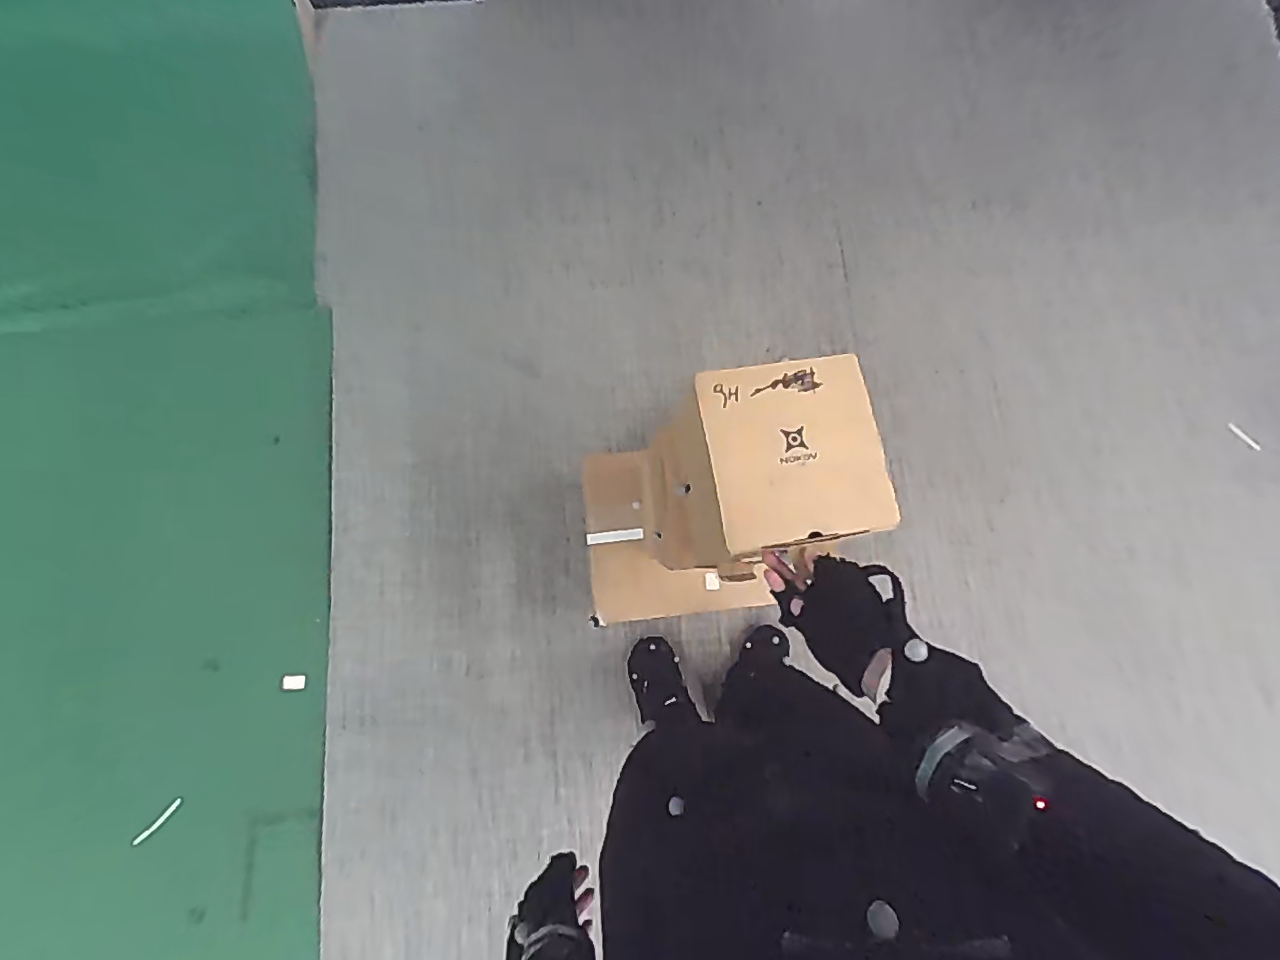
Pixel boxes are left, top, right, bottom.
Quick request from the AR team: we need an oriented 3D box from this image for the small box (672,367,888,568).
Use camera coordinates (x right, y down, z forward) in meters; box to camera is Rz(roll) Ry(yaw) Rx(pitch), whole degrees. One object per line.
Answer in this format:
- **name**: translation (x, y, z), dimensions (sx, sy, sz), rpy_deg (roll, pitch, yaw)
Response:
- **small box**: translation (0.135, -0.001, 0.589), dimensions (0.168, 0.176, 0.179), rpy_deg (-9, 79, -5)

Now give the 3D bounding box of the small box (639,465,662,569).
- **small box**: translation (0.096, 0.054, 0.918), dimensions (0.179, 0.176, 0.168), rpy_deg (-6, 85, -3)

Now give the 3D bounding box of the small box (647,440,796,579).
- **small box**: translation (0.103, 0.037, 0.757), dimensions (0.168, 0.176, 0.179), rpy_deg (-6, 84, -4)
